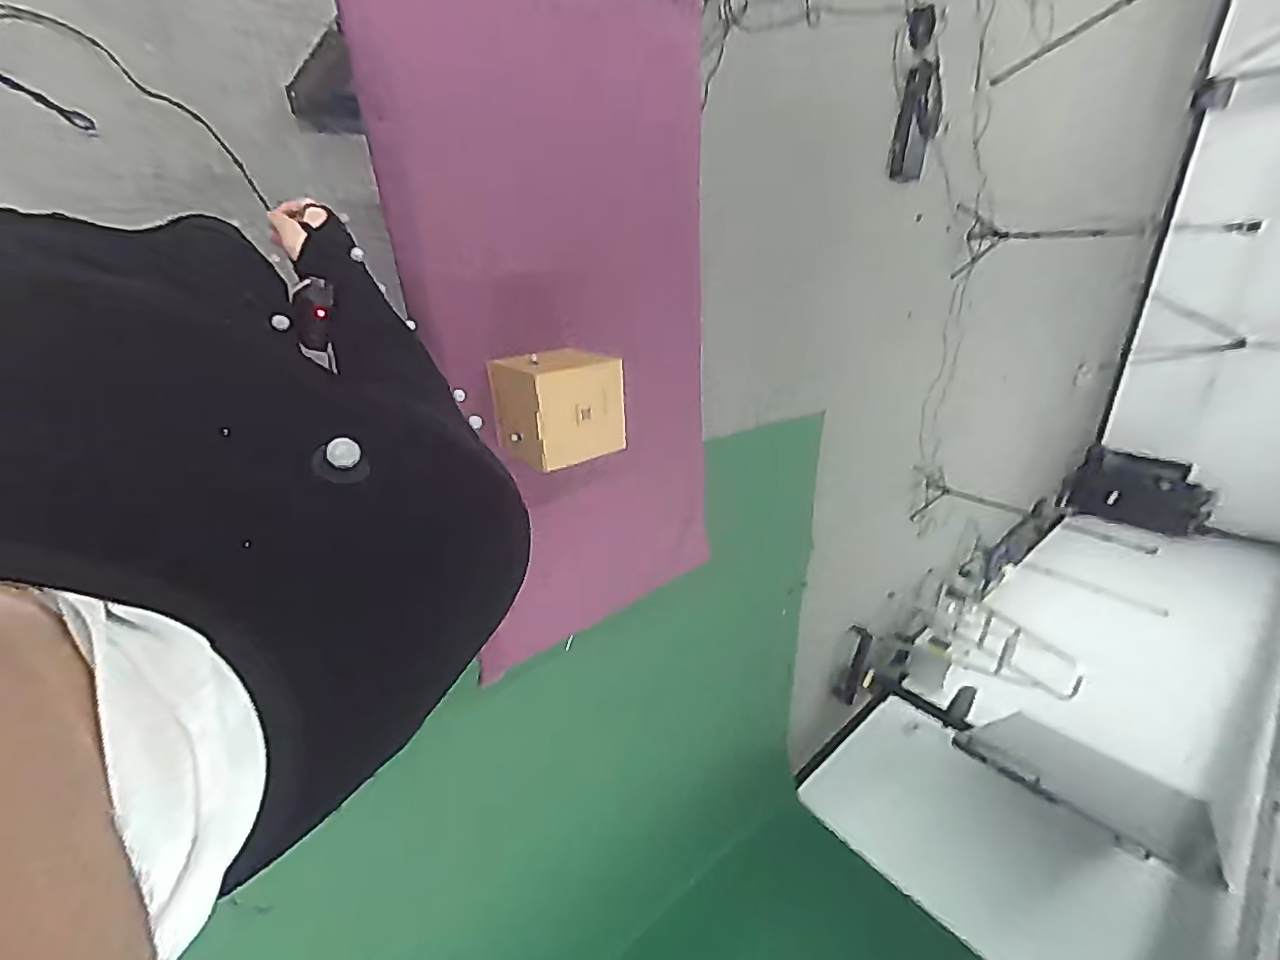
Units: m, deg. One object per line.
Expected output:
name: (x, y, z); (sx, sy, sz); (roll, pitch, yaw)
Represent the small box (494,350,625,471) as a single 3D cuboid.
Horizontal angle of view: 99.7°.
small box: (-0.147, -0.133, 0.967); (0.179, 0.176, 0.168); (-19, 120, -36)
